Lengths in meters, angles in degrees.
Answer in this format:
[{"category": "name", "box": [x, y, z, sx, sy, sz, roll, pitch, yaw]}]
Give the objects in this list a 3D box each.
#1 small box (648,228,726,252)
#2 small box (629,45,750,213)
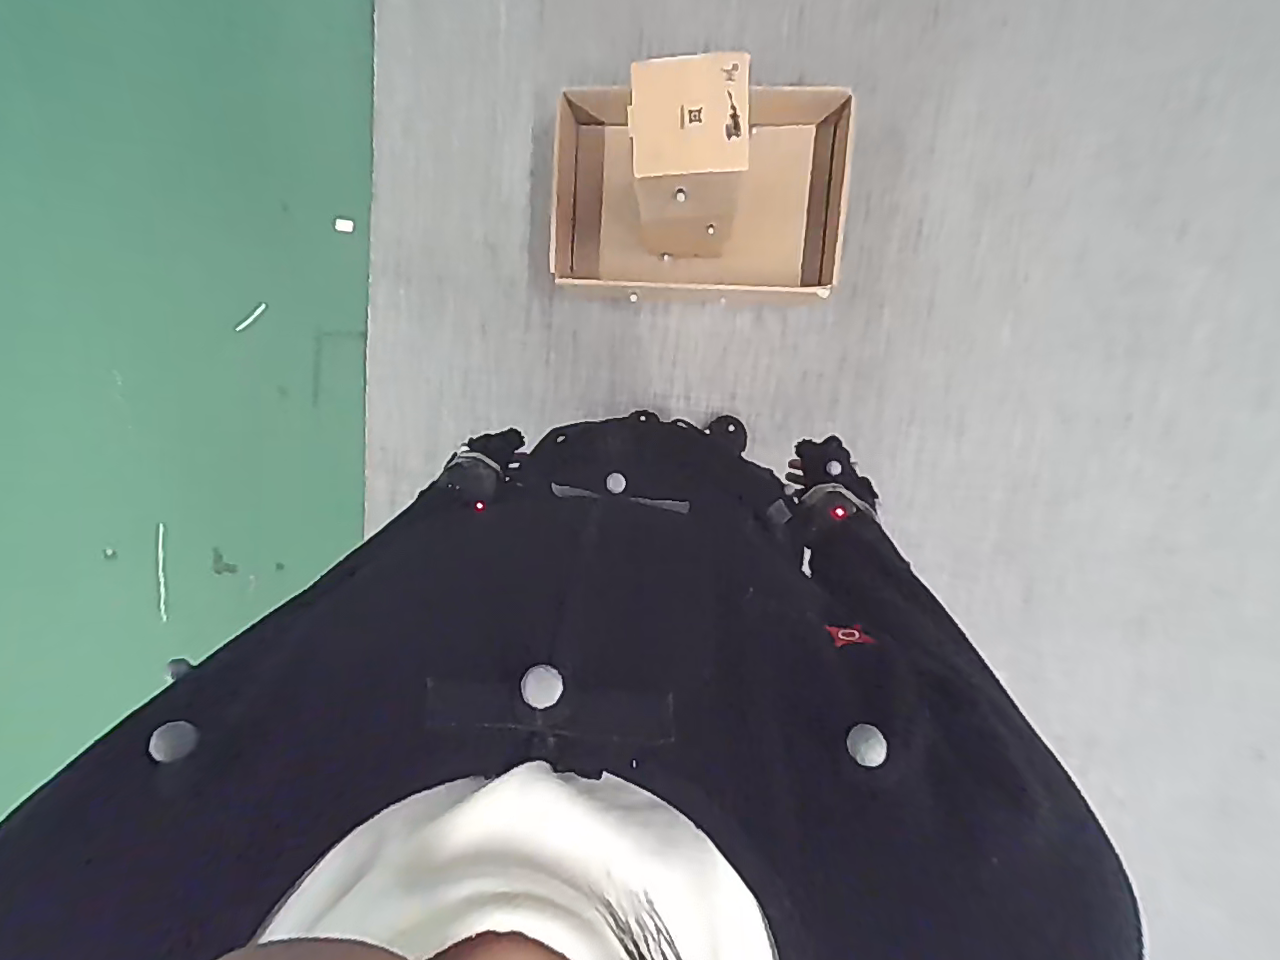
[{"category": "small box", "box": [0.112, -0.616, 1.199, 0.168, 0.176, 0.179, 4, 98, 6]}, {"category": "small box", "box": [0.083, -0.556, 0.883, 0.179, 0.176, 0.168, -3, 95, 6]}]
